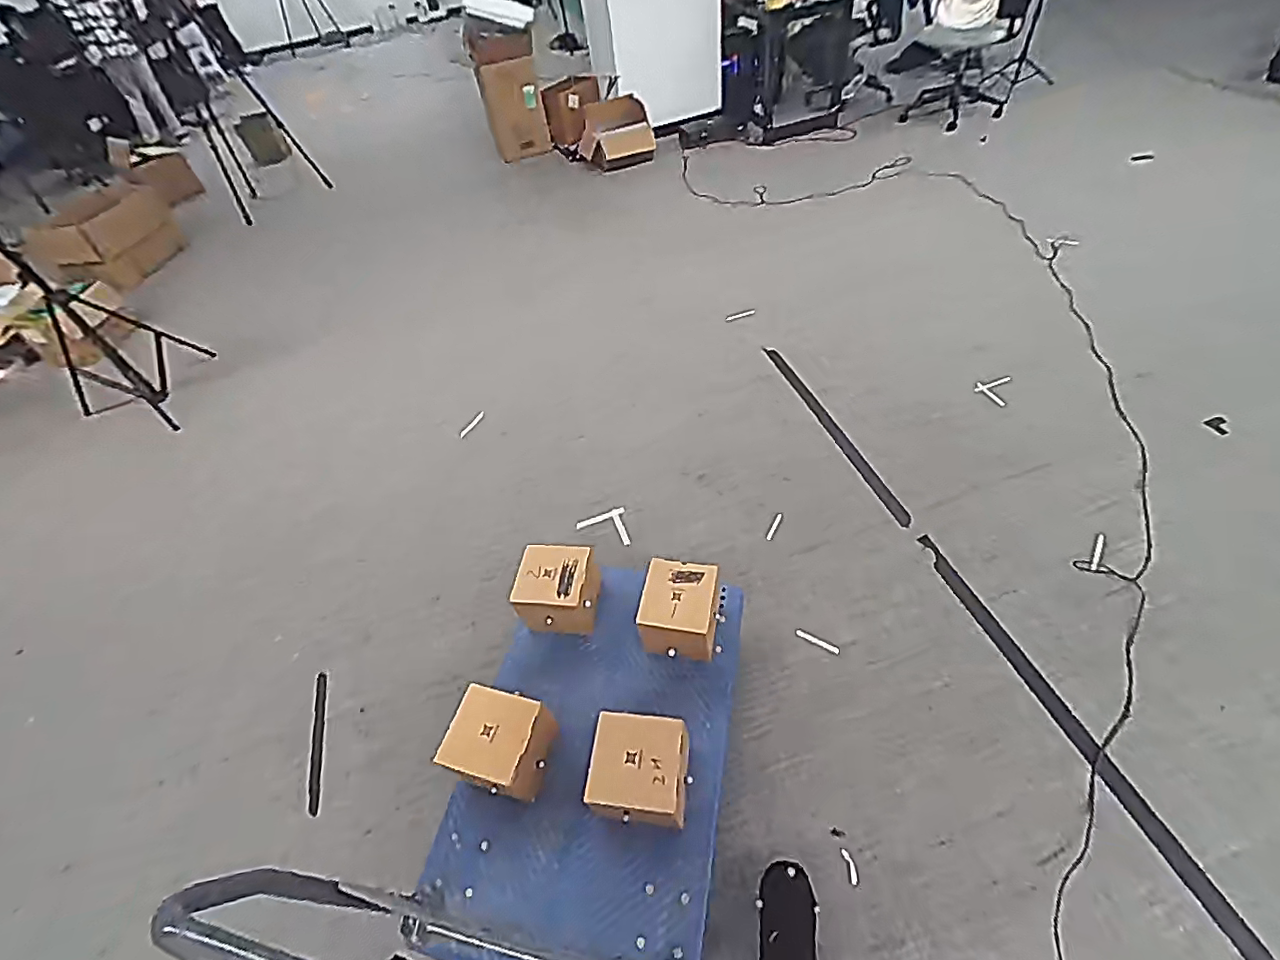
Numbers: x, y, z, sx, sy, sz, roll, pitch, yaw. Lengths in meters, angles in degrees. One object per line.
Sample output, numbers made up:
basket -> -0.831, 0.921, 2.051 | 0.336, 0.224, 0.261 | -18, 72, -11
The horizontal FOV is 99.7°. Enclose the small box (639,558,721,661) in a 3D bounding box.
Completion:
small box -> 0.105, 0.315, 1.317 | 0.168, 0.176, 0.179 | 5, 52, 14

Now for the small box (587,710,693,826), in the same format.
small box -> 0.009, 0.587, 1.098 | 0.179, 0.176, 0.168 | 1, 50, 11

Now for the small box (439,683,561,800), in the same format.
small box -> -0.292, 0.568, 1.170 | 0.179, 0.176, 0.168 | 8, 51, 15
